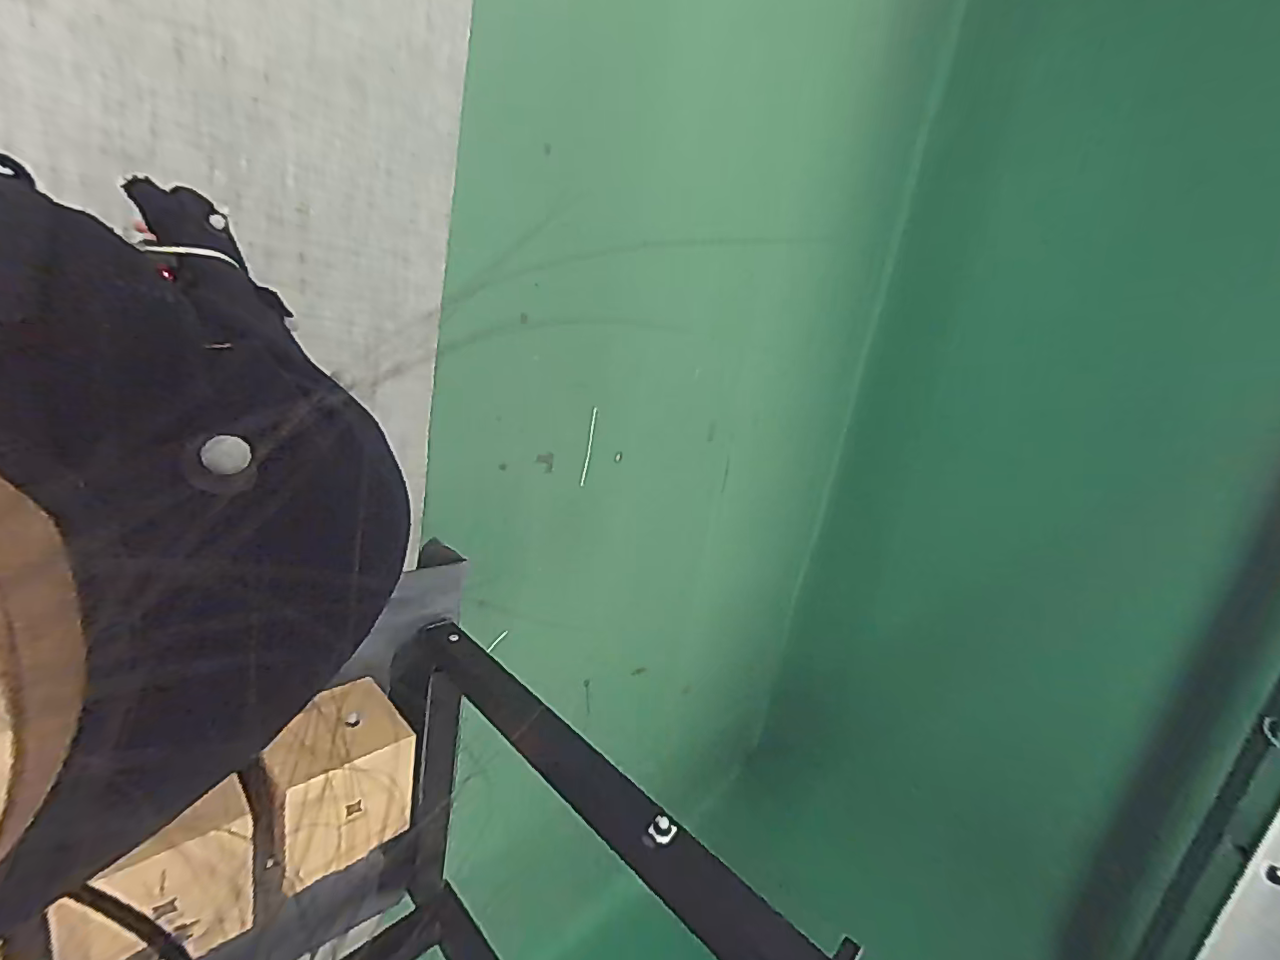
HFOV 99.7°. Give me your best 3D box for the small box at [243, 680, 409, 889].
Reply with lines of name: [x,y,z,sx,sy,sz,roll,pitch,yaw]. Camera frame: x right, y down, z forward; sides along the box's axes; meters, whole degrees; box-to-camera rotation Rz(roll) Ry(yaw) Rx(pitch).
small box: [-0.457,0.418,0.783,0.168,0.176,0.179,-6,113,-47]
